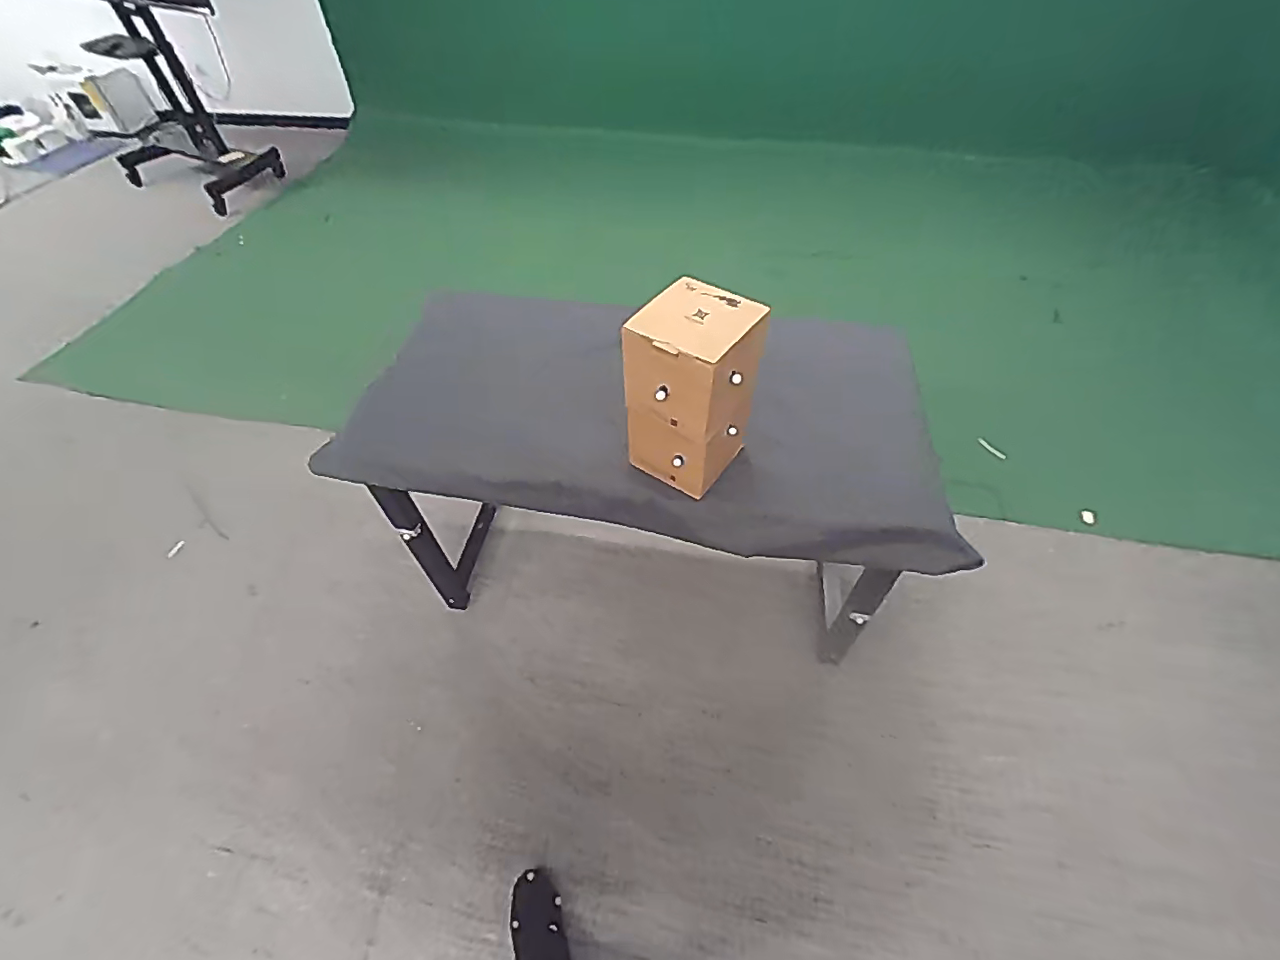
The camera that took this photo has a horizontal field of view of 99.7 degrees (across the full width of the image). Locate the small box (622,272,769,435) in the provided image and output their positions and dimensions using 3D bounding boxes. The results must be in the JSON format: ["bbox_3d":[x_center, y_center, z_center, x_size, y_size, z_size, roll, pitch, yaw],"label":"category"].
[{"bbox_3d":[0.090,-0.205,0.891,0.168,0.176,0.179,30,59,22],"label":"small box"}]

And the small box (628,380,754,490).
[{"bbox_3d":[0.094,-0.112,1.027,0.168,0.176,0.179,30,57,21],"label":"small box"}]
